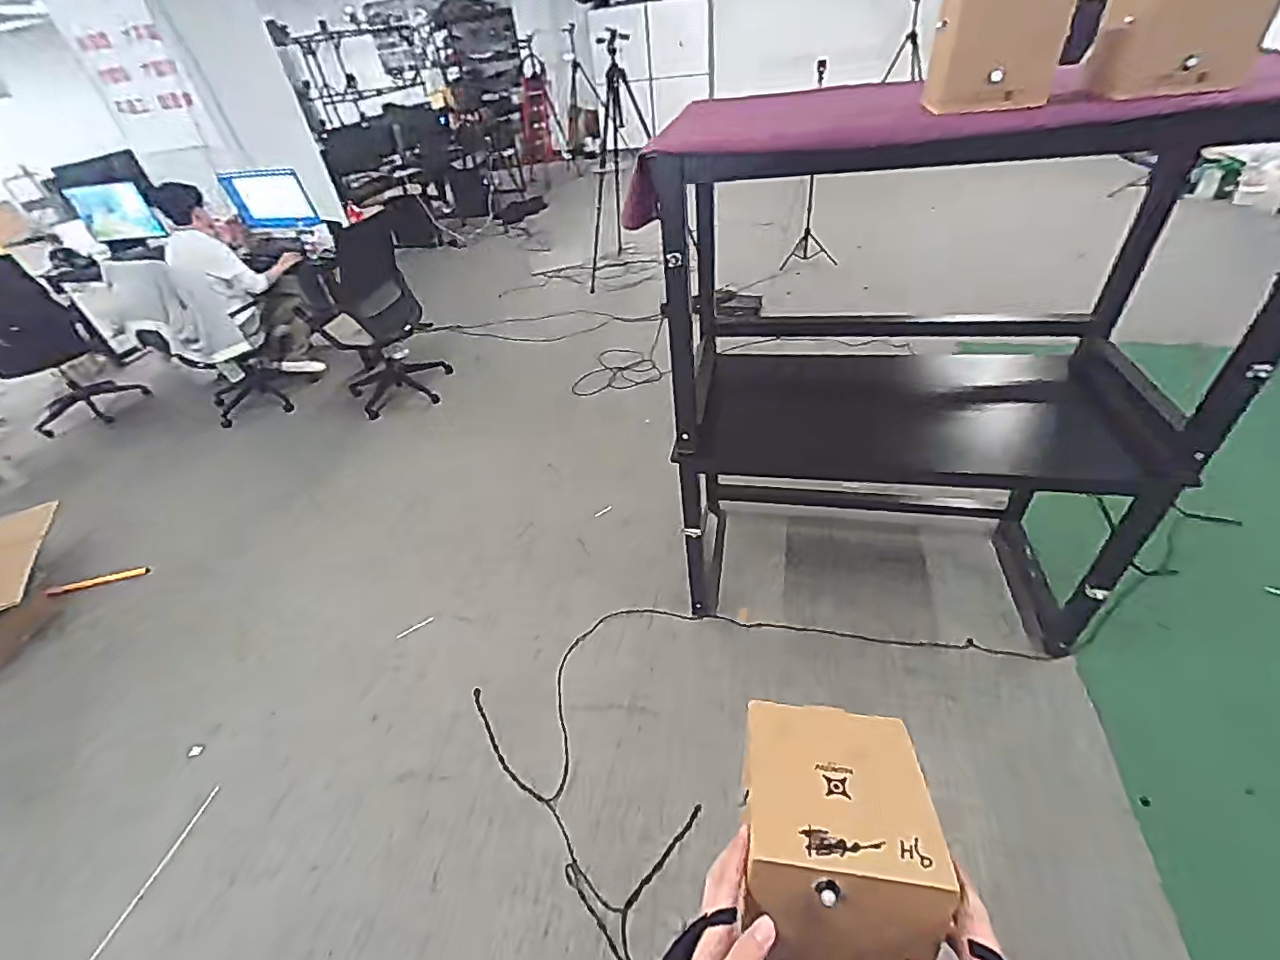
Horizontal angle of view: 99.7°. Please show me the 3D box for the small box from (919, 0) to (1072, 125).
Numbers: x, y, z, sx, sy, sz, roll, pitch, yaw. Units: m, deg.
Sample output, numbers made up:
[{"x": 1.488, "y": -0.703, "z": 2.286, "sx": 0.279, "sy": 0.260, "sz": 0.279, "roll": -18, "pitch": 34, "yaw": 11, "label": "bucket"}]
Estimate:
[{"x": 0.603, "y": -0.733, "z": 0.945, "sx": 0.168, "sy": 0.176, "sz": 0.179, "roll": 4, "pitch": 41, "yaw": 14, "label": "small box"}]

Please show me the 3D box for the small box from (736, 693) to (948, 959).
[{"x": 0.188, "y": 0.357, "z": 0.564, "sx": 0.168, "sy": 0.176, "sz": 0.179, "roll": 3, "pitch": 23, "yaw": 9, "label": "small box"}]
